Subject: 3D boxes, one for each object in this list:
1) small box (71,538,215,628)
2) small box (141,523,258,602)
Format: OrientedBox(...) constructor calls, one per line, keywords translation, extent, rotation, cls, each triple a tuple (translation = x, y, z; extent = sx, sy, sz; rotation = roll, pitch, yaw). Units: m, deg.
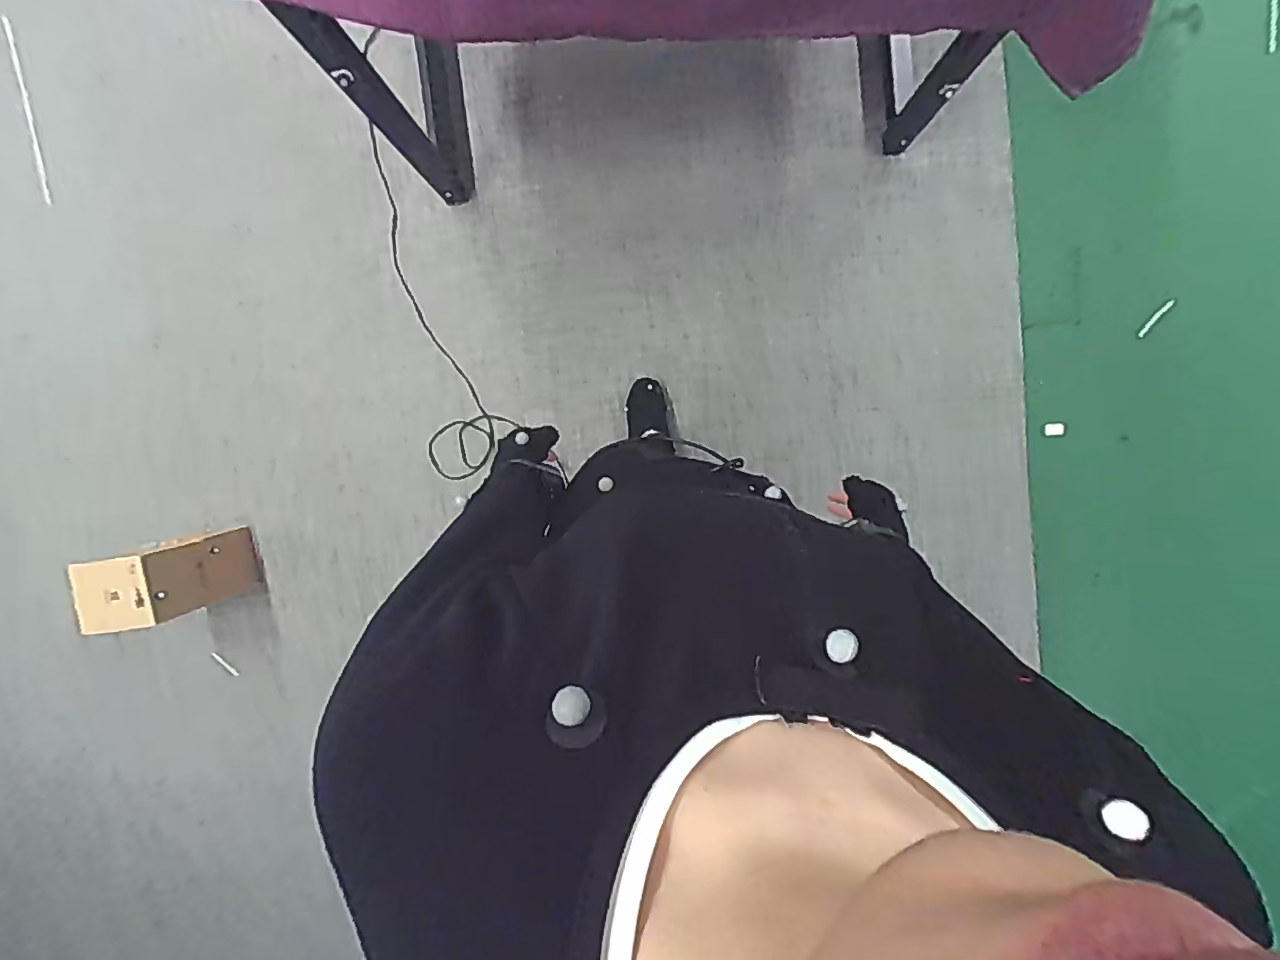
OrientedBox(translation=(-1.169, 0.238, 1.282), extent=(0.179, 0.176, 0.168), rotation=(-7, 95, 3), cls="small box")
OrientedBox(translation=(-1.165, 0.223, 1.446), extent=(0.168, 0.176, 0.179), rotation=(-7, 95, 2), cls="small box")
